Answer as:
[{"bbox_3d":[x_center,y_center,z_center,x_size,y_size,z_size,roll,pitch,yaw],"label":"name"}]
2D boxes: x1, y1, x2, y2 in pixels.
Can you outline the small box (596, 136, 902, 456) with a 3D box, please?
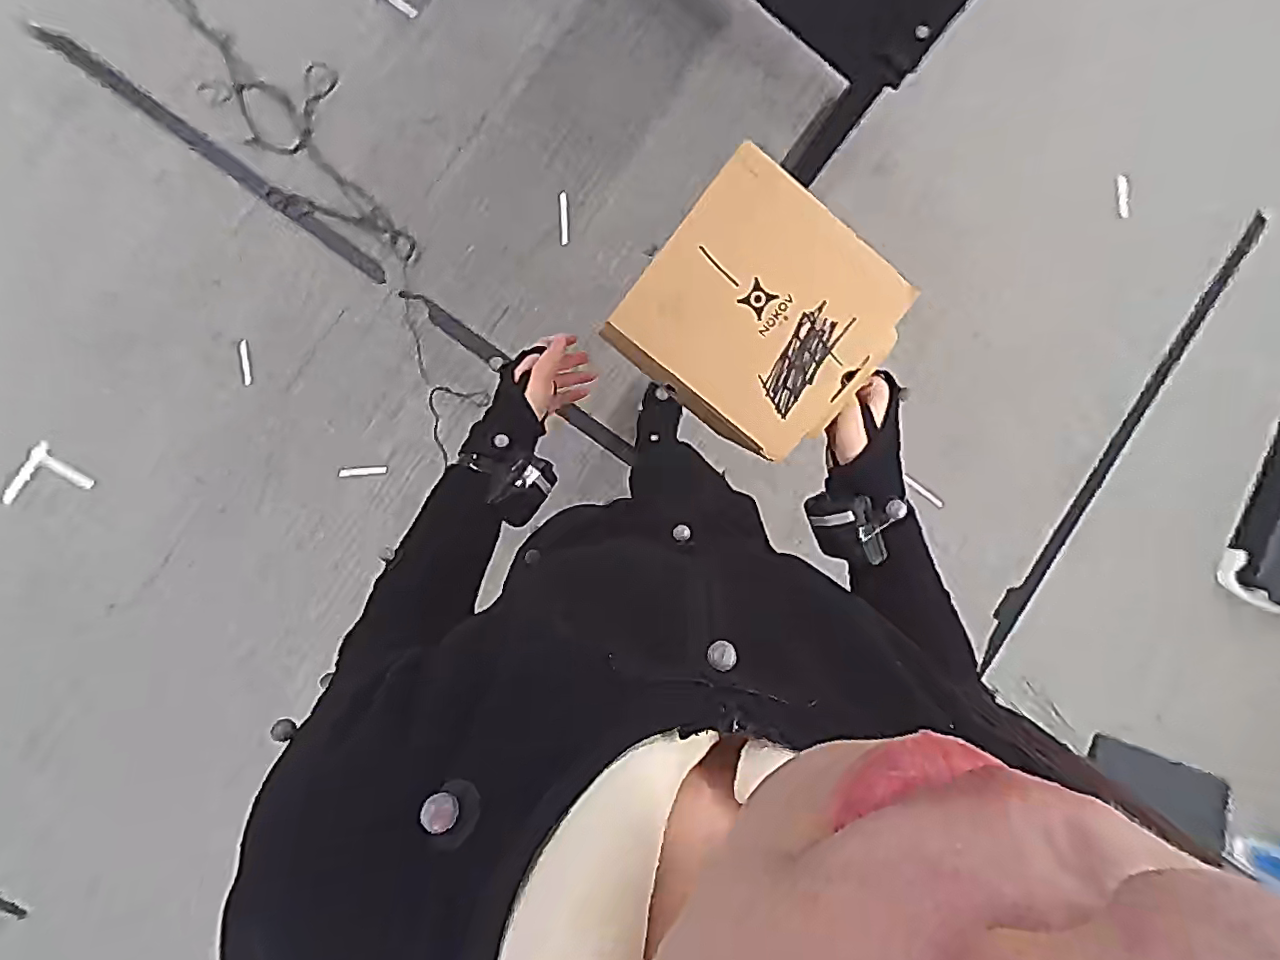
[{"bbox_3d":[0.078,-0.147,0.481,0.179,0.176,0.168,36,94,-13],"label":"small box"}]
